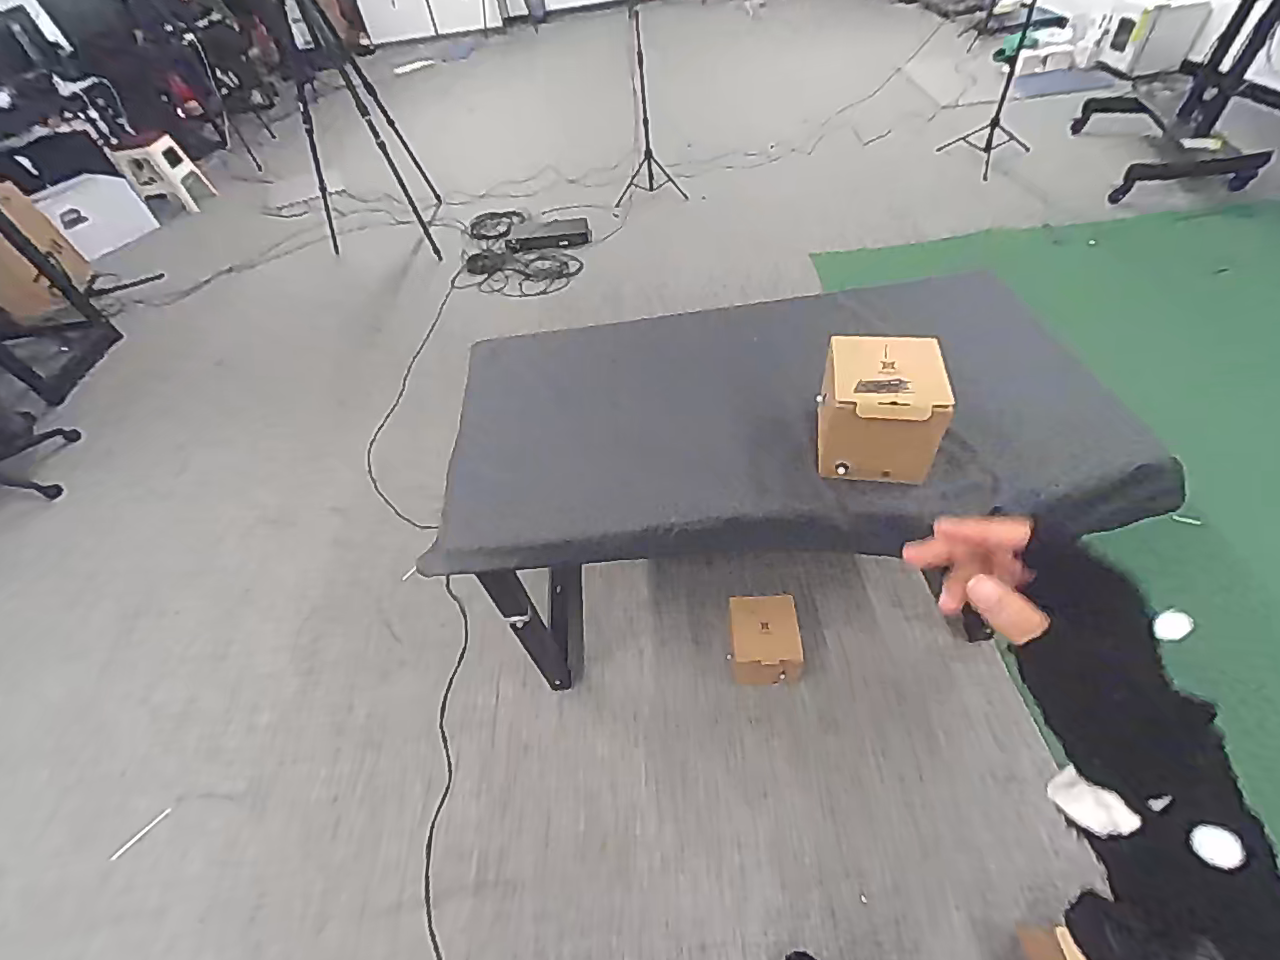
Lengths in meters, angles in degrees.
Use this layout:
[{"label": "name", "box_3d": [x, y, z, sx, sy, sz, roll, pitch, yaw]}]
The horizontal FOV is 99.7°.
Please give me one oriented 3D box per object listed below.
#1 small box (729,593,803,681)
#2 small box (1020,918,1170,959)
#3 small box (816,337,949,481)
[{"label": "small box", "box_3d": [0.323, 0.417, 1.422, 0.168, 0.176, 0.179, -3, 48, 5]}, {"label": "small box", "box_3d": [0.813, 0.887, 0.955, 0.179, 0.176, 0.168, -3, 50, 6]}, {"label": "small box", "box_3d": [0.392, -0.117, 0.902, 0.168, 0.176, 0.179, 5, 50, 12]}]
